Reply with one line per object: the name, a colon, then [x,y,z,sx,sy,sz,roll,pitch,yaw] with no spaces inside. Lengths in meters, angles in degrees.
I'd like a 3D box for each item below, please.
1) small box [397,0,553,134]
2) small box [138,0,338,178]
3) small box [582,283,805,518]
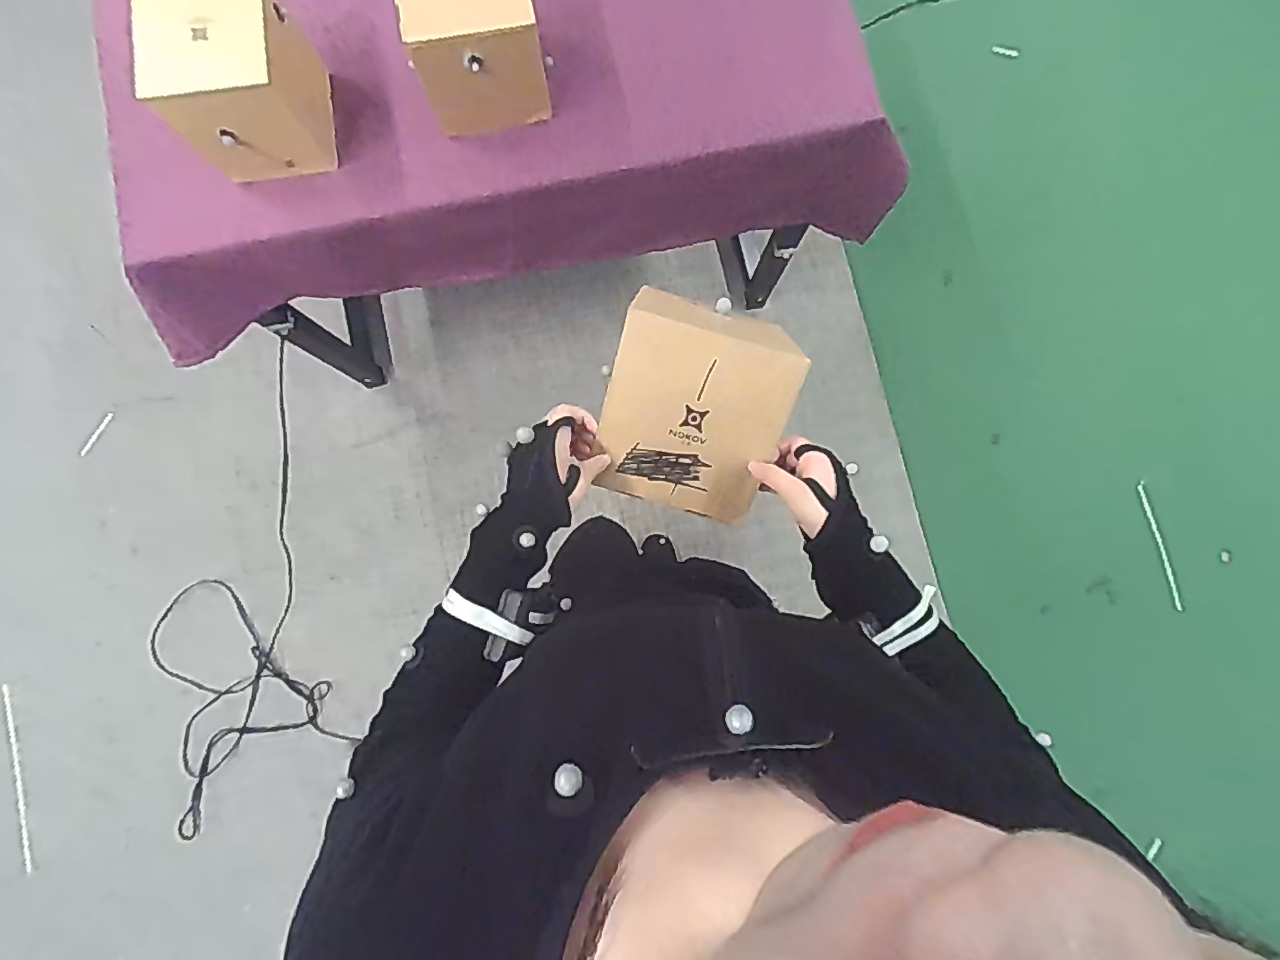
small box: [-0.234,-0.641,0.787,0.179,0.176,0.168,-10,84,-2]
small box: [-0.559,-0.561,0.774,0.168,0.176,0.179,-9,82,-2]
small box: [0.050,-0.091,0.566,0.168,0.176,0.179,16,115,-3]
